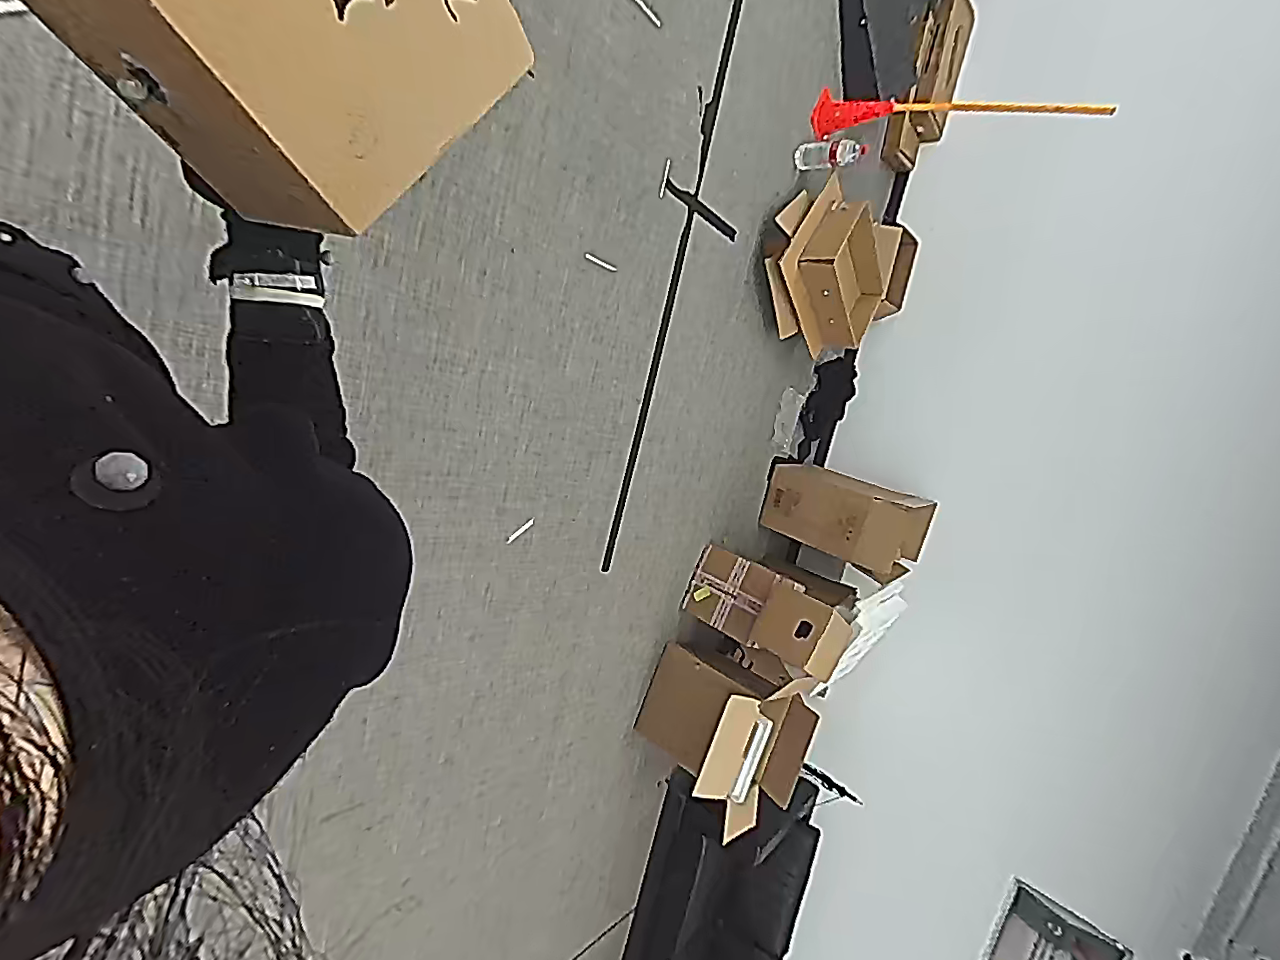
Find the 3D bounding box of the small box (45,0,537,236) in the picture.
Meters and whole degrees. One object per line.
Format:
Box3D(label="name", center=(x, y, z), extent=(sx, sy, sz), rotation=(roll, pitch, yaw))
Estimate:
Box3D(label="small box", center=(-0.201, -0.271, 0.311), extent=(0.179, 0.176, 0.168), rotation=(-56, 147, -17))
